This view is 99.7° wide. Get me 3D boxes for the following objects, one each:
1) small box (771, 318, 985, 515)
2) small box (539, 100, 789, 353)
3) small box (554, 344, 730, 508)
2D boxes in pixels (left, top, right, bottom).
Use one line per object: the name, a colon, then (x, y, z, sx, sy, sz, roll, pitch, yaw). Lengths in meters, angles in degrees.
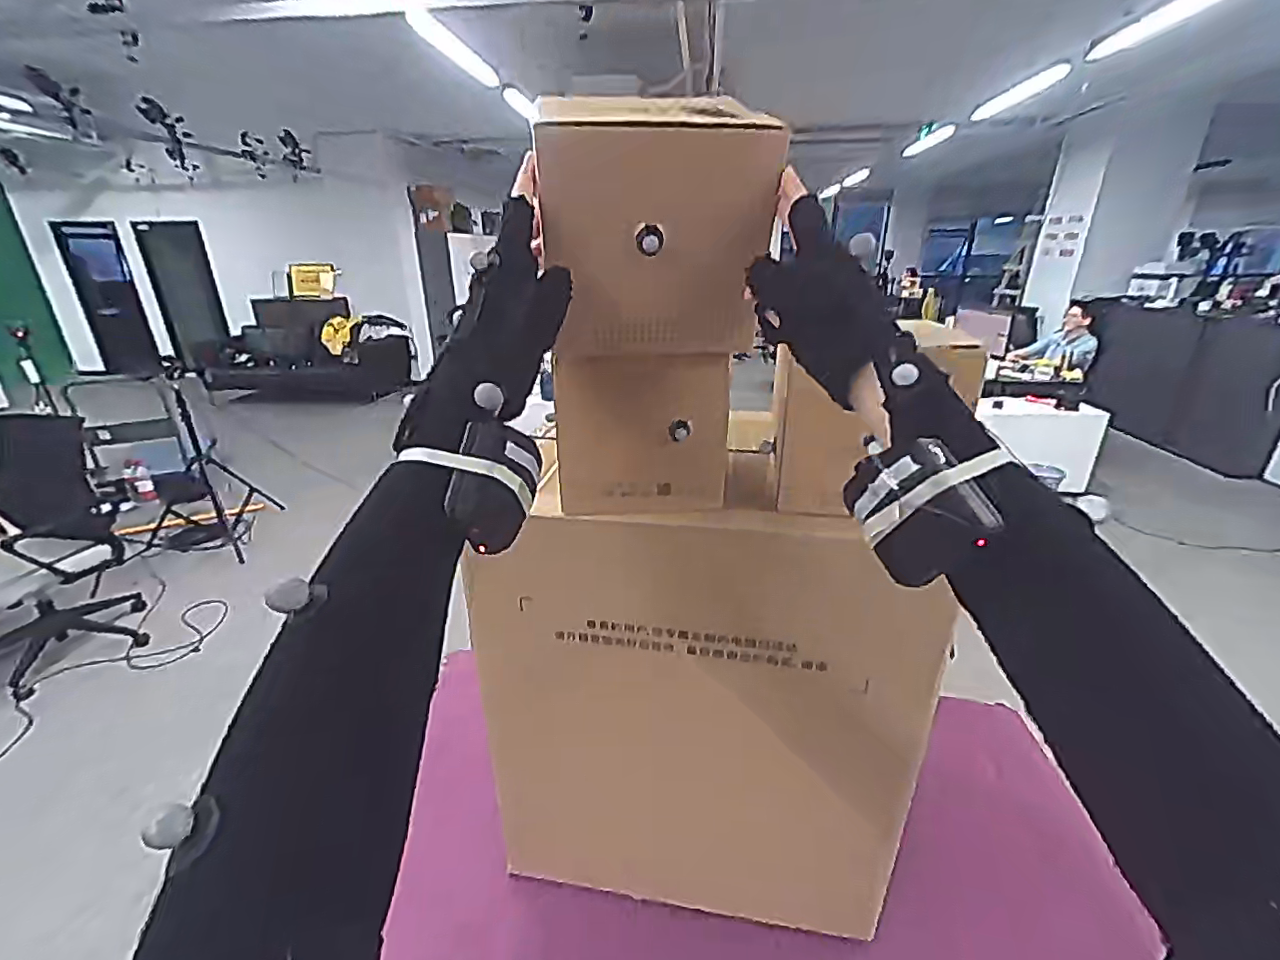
small box: (0.232, -0.074, 0.578, 0.168, 0.176, 0.179, 3, 24, 9)
small box: (0.007, -0.222, 0.476, 0.179, 0.176, 0.168, -4, 38, -6)
small box: (0.000, -0.076, 0.599, 0.168, 0.176, 0.179, -1, 23, -3)
